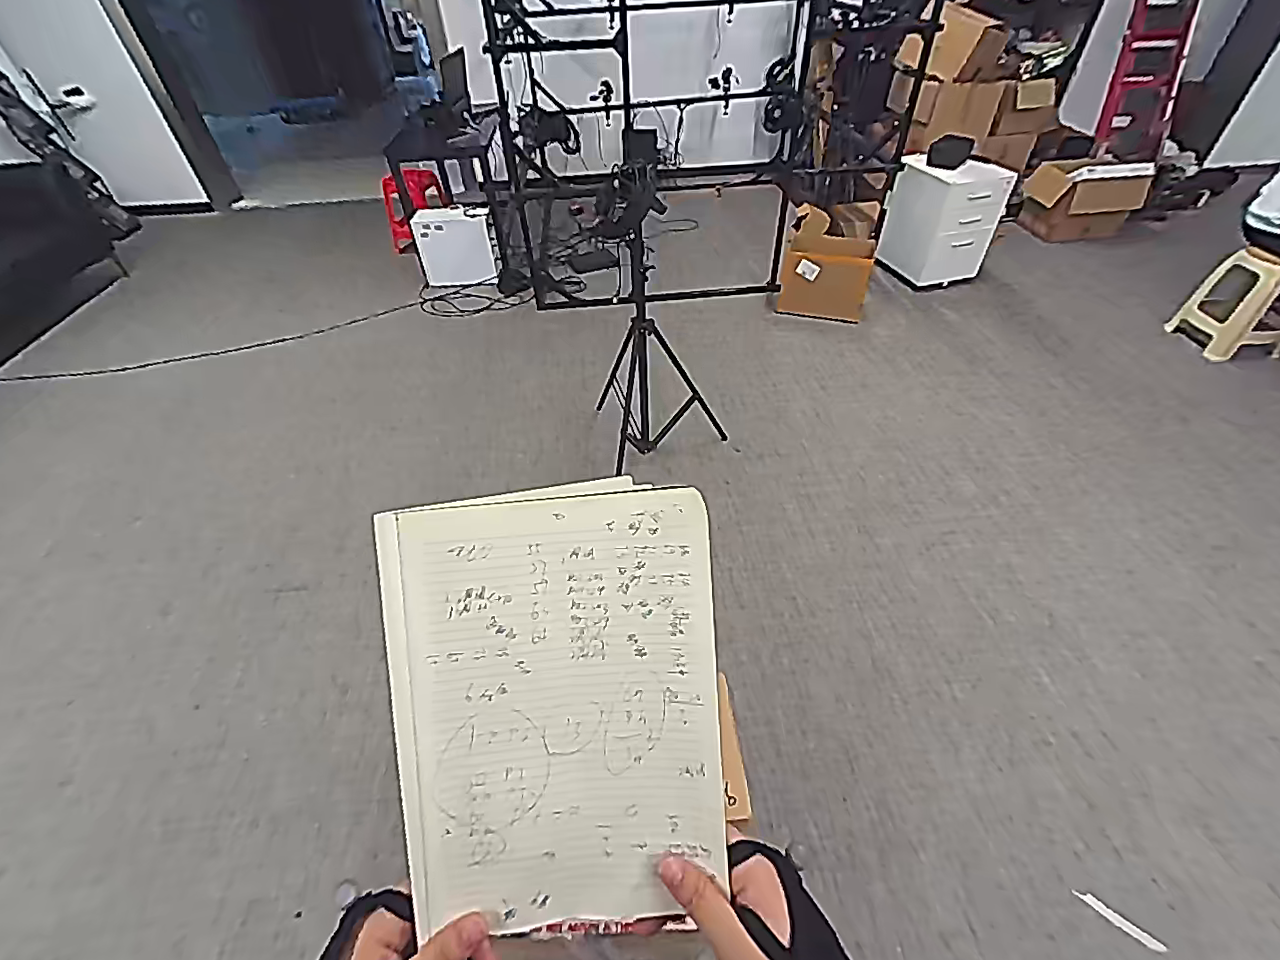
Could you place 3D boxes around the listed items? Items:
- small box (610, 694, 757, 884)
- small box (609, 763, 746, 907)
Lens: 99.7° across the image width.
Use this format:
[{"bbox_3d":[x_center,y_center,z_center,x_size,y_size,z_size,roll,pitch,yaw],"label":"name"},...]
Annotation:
[{"bbox_3d":[0.044,0.409,0.719,0.168,0.176,0.179,-3,45,-4],"label":"small box"},{"bbox_3d":[0.047,0.531,0.828,0.179,0.176,0.168,-6,45,-5],"label":"small box"}]
